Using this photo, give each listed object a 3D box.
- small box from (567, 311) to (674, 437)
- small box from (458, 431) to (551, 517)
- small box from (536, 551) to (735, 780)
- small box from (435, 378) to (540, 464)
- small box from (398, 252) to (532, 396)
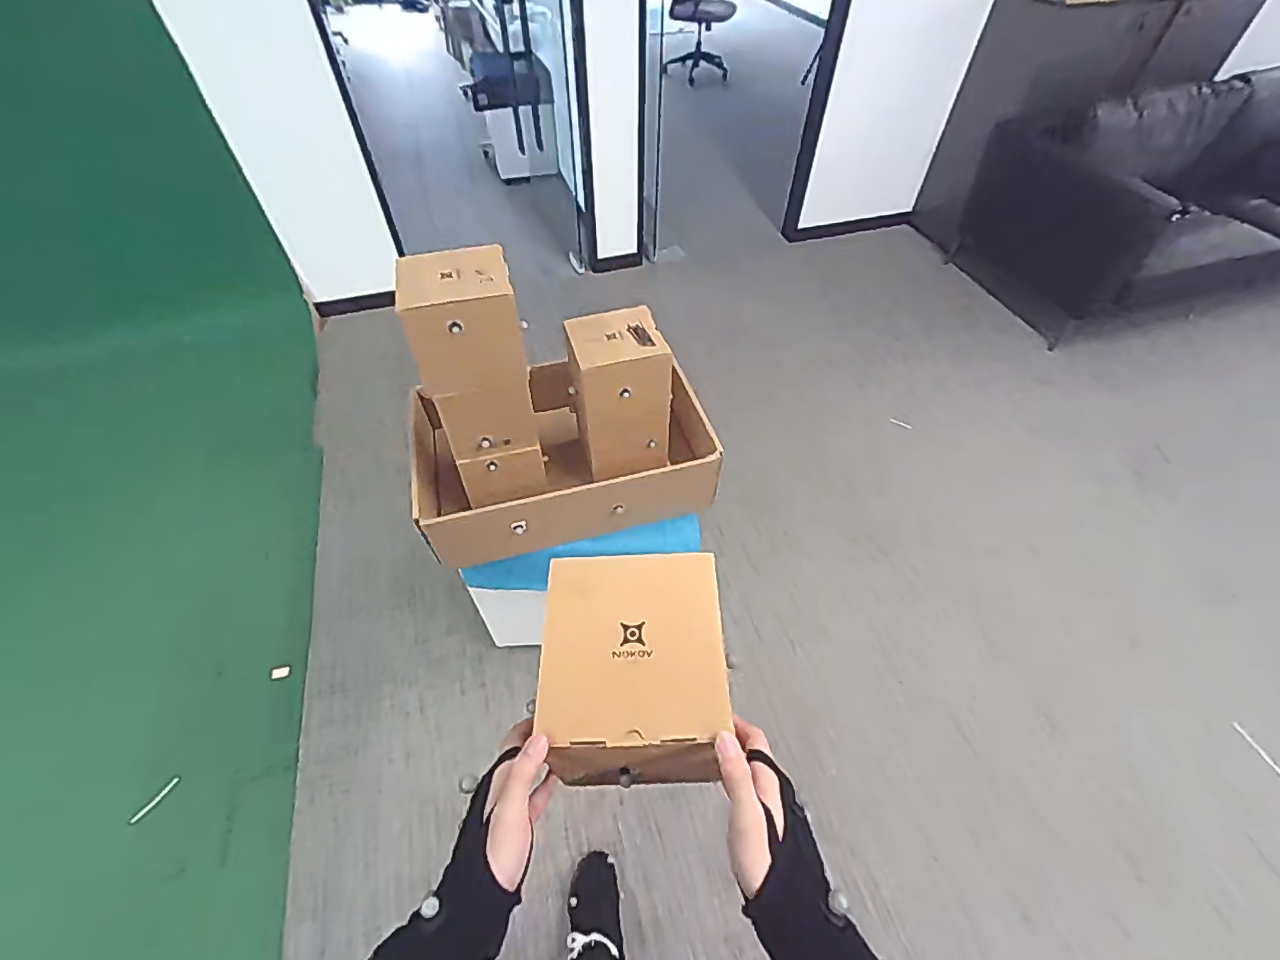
[{"bbox_3d":[-0.040,-0.211,1.091,0.179,0.176,0.168,-14,50,-10],"label":"small box"},{"bbox_3d":[-0.294,-0.047,1.167,0.168,0.176,0.179,-12,50,-11],"label":"small box"},{"bbox_3d":[-0.002,0.190,0.550,0.168,0.176,0.179,-2,52,1],"label":"small box"},{"bbox_3d":[-0.295,-0.158,1.048,0.168,0.176,0.179,-12,51,-11],"label":"small box"},{"bbox_3d":[-0.293,-0.262,0.920,0.179,0.176,0.168,-12,50,-10],"label":"small box"}]
